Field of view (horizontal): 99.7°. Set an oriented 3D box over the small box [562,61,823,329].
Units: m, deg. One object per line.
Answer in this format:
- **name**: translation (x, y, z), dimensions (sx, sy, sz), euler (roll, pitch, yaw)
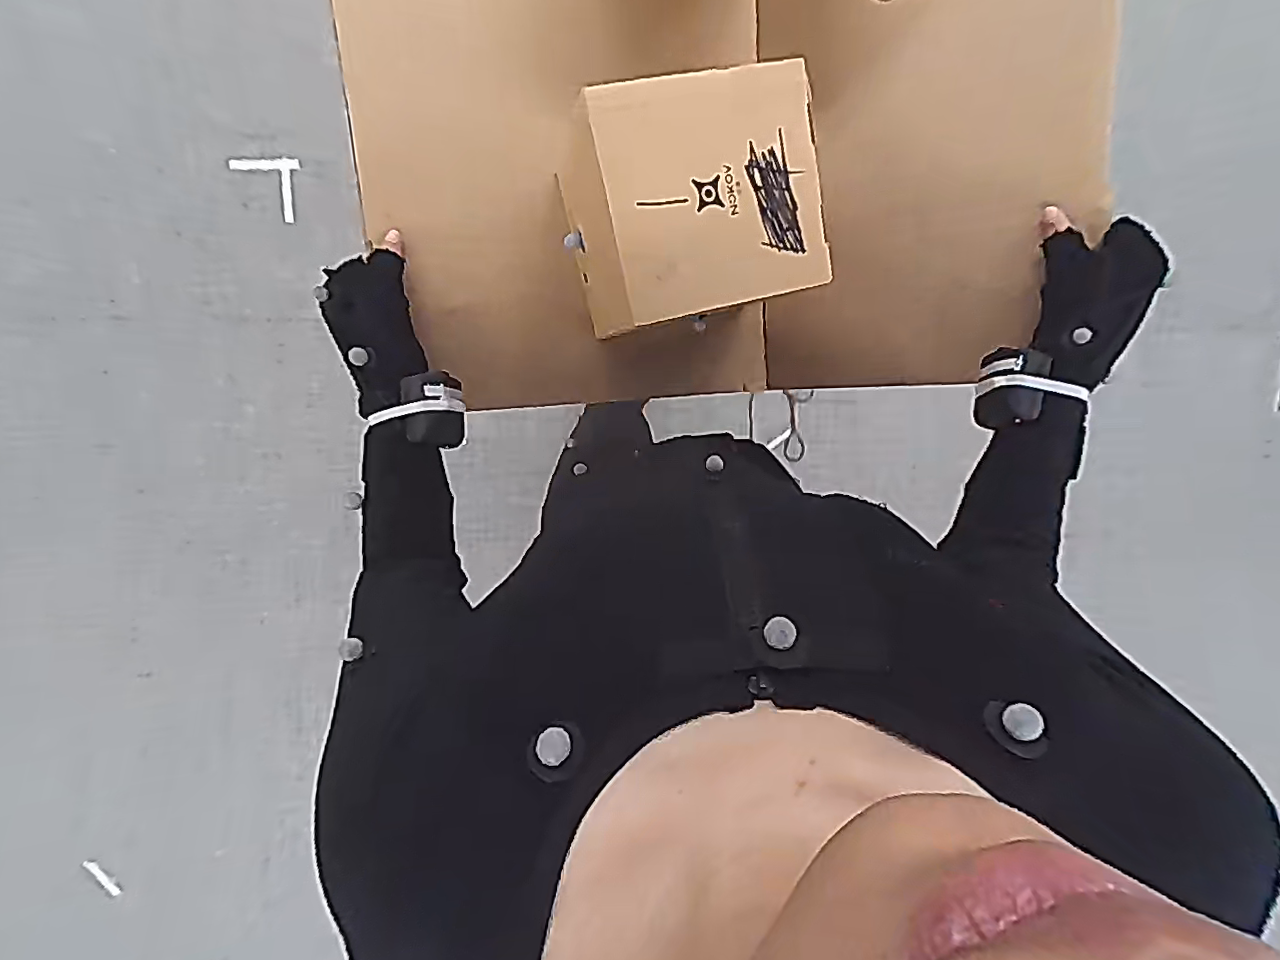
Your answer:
- **small box**: translation (0.038, -0.242, 0.497), dimensions (0.179, 0.176, 0.168), euler (-16, 104, -11)
